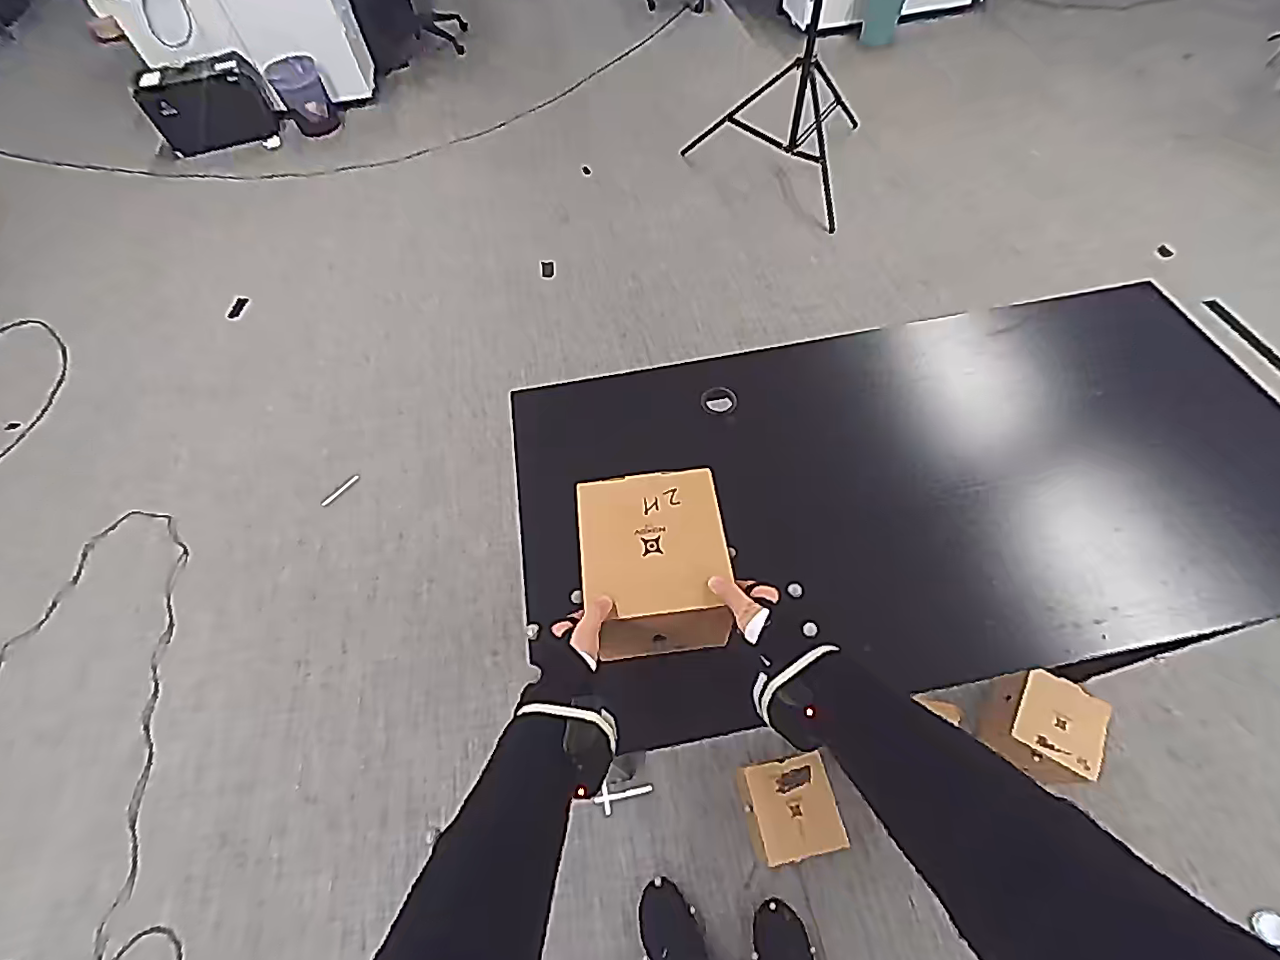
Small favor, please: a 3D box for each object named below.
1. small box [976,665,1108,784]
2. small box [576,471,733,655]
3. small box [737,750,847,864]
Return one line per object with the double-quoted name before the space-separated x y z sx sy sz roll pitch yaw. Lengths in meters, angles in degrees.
"small box" 0.890 0.550 1.212 0.168 0.176 0.179 27 64 19
"small box" 0.016 0.112 0.680 0.168 0.176 0.179 -7 58 -1
"small box" 0.314 0.698 1.160 0.168 0.176 0.179 -12 60 -3
